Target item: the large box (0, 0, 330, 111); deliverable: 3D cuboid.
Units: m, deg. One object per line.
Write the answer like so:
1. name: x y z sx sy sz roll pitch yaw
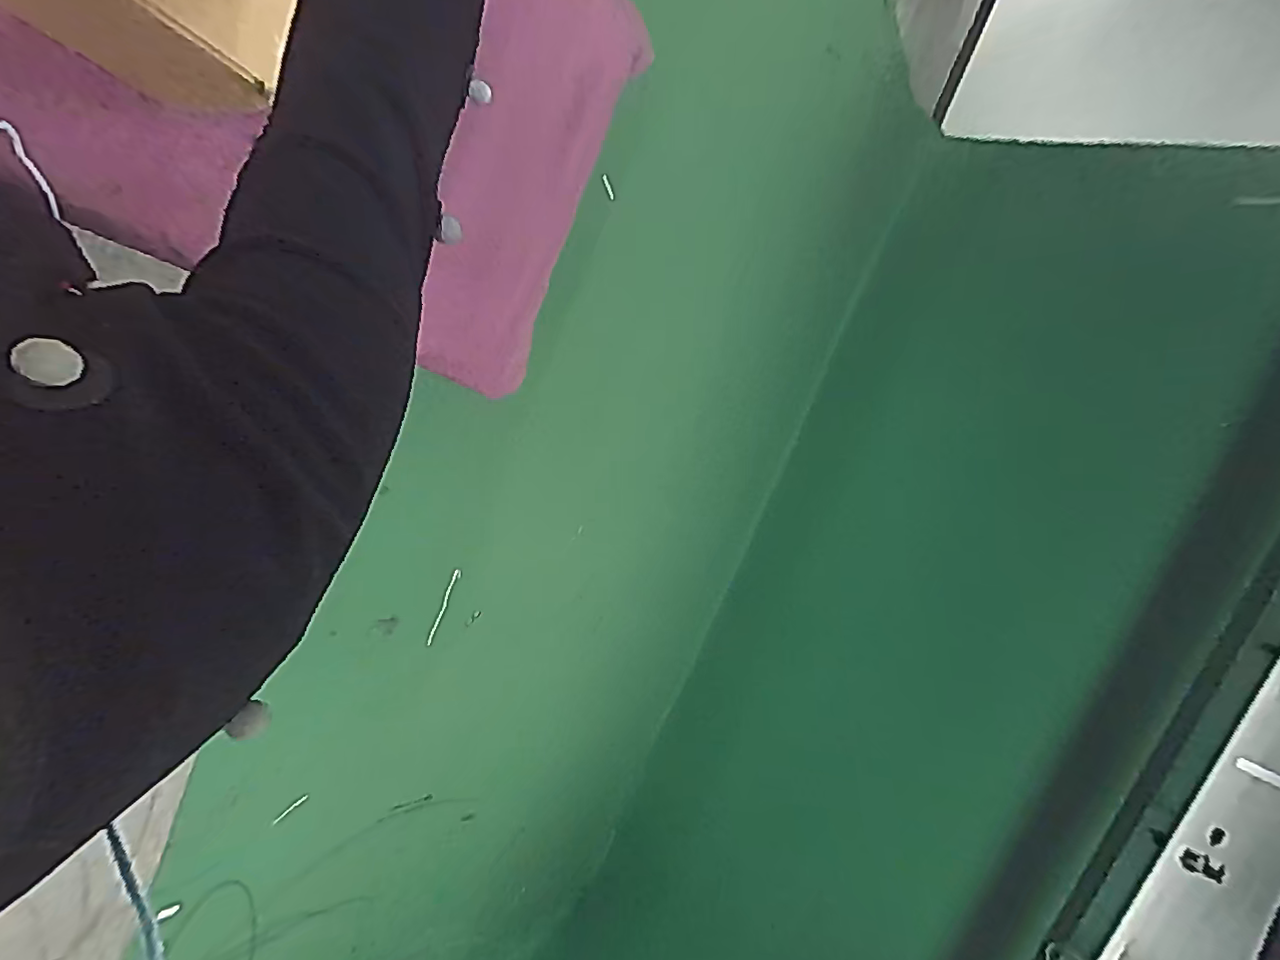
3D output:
1. large box: -0.360 -0.522 0.319 0.320 0.320 0.408 17 99 -55
